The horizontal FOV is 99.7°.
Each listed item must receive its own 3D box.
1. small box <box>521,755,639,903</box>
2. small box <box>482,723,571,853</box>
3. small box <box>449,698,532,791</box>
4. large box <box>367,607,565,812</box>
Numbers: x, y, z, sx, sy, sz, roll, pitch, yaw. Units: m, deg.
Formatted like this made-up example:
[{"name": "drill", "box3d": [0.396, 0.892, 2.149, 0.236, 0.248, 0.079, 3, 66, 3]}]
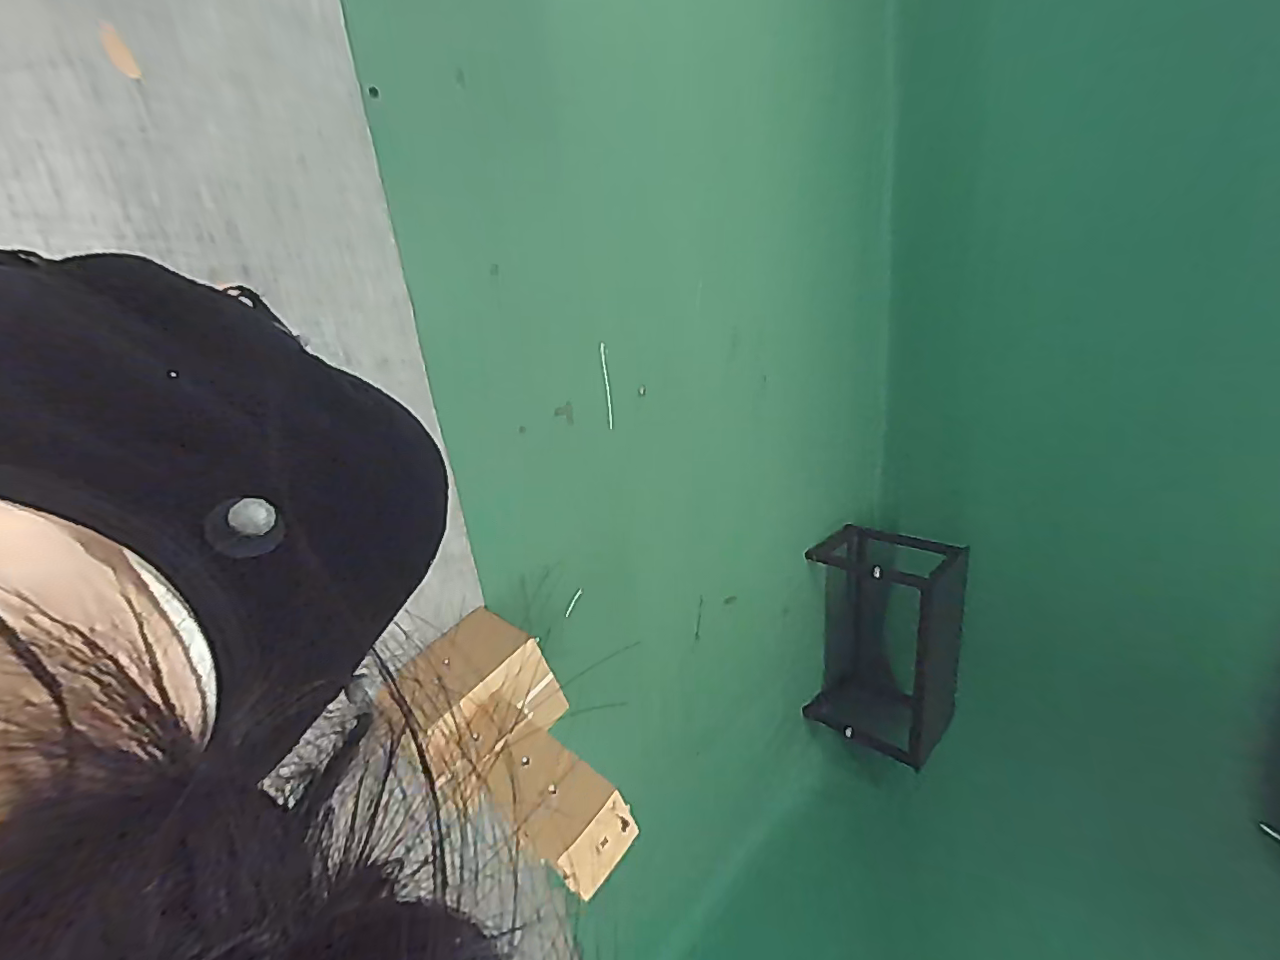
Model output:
[{"name": "small box", "box3d": [-0.137, 0.753, 1.185, 0.179, 0.176, 0.168, -37, 123, -32]}, {"name": "small box", "box3d": [-0.254, 0.729, 1.297, 0.179, 0.176, 0.168, -39, 123, -33]}, {"name": "small box", "box3d": [-0.368, 0.702, 1.413, 0.168, 0.176, 0.179, -38, 123, -34]}, {"name": "large box", "box3d": [-0.507, 0.656, 1.612, 0.408, 0.320, 0.320, -39, 125, -34]}]
